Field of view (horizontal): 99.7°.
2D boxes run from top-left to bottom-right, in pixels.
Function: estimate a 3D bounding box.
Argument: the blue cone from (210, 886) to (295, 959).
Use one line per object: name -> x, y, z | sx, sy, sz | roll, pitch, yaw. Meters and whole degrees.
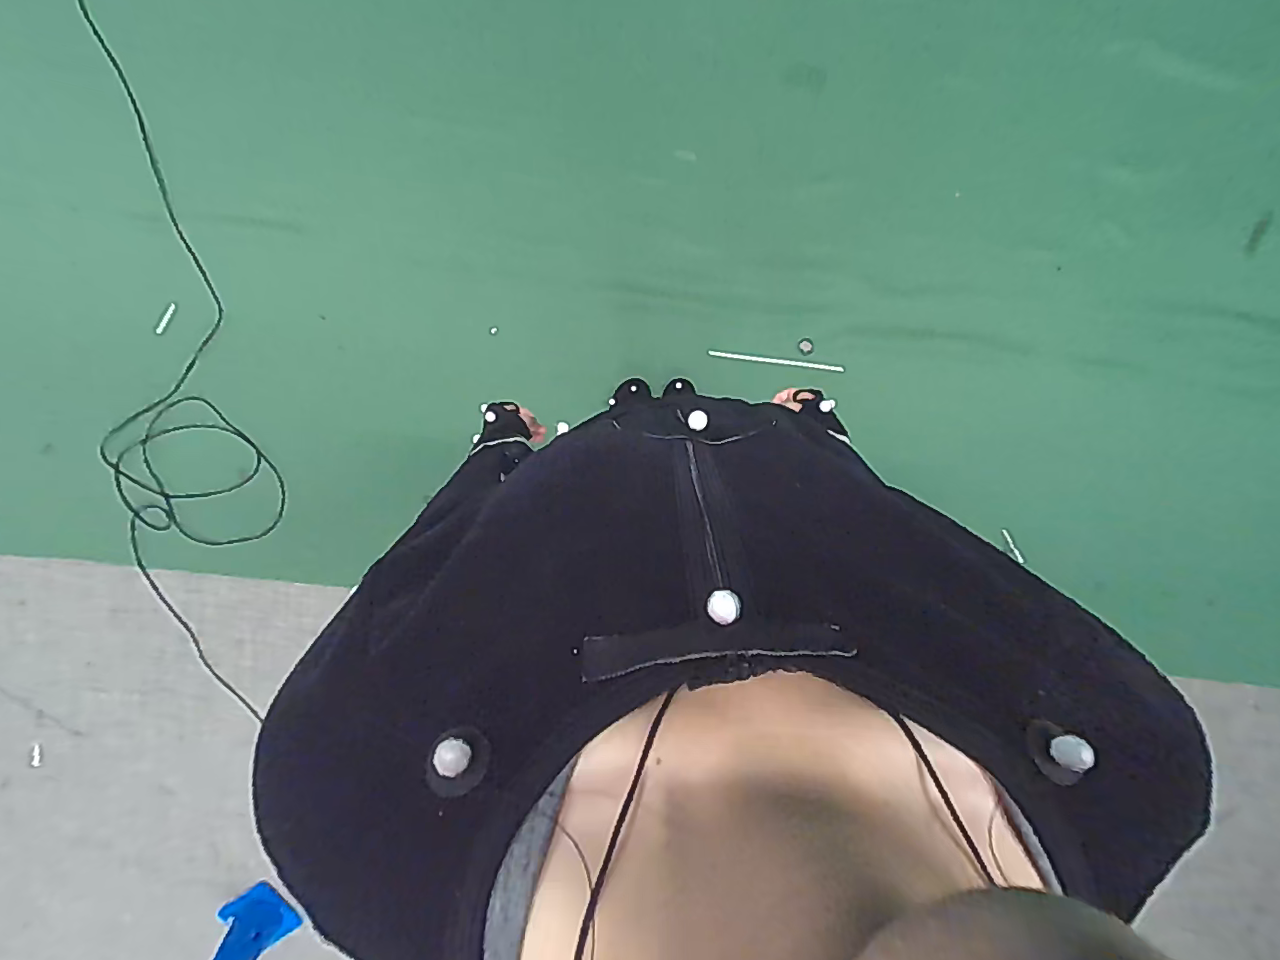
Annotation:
blue cone -> -1.193, 1.409, 1.533 | 0.193, 0.380, 0.192 | -37, 101, 6
